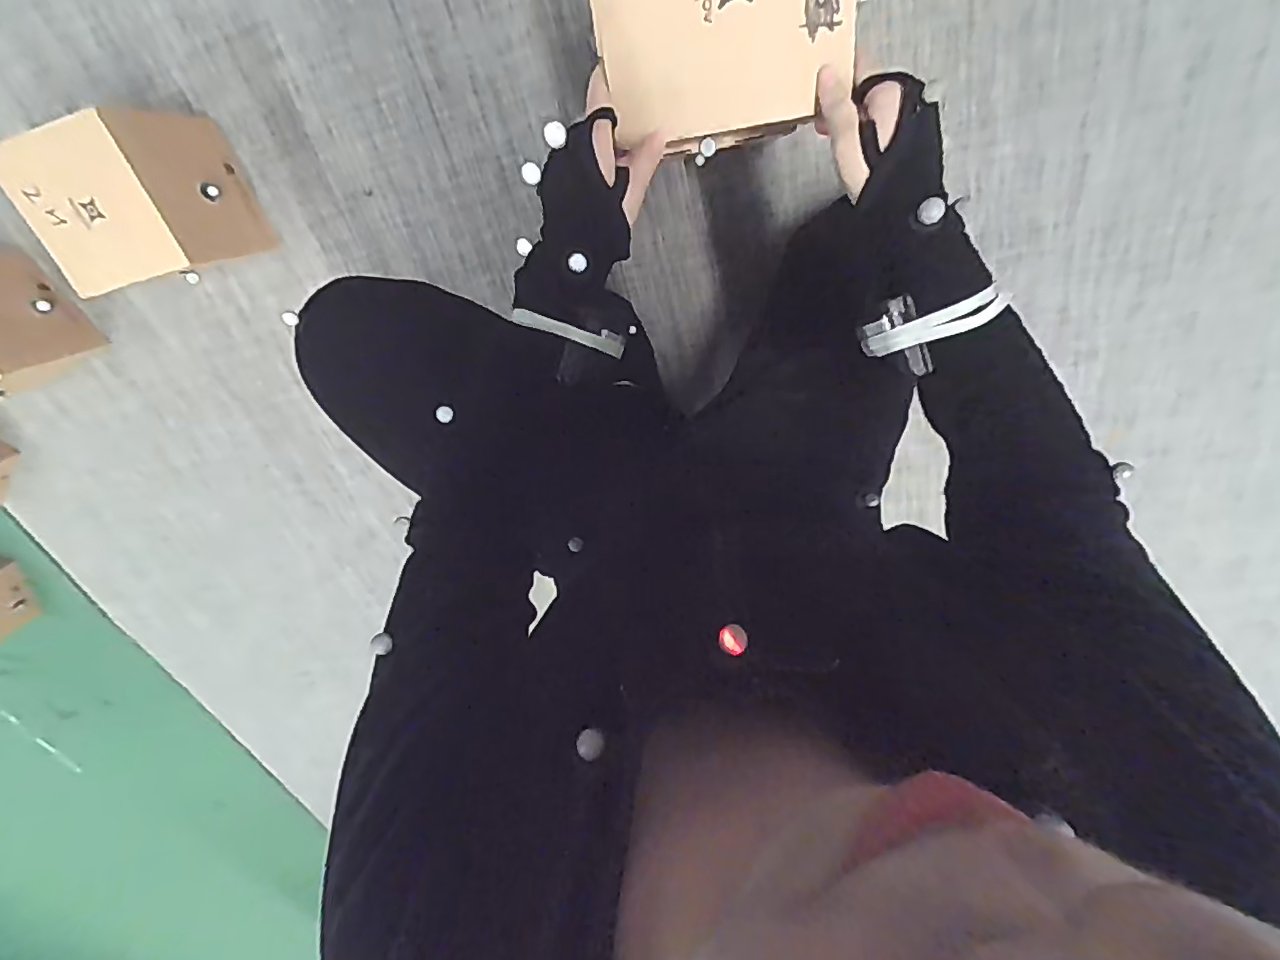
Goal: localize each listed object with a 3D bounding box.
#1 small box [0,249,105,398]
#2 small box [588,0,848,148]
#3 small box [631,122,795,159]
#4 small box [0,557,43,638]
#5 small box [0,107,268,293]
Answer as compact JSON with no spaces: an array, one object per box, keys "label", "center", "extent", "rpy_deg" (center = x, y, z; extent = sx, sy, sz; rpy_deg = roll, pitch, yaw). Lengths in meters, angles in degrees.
[{"label":"small box","center":[-0.988,-0.225,0.815],"extent":[0.179,0.176,0.168],"rpy_deg":[-22,116,17]},{"label":"small box","center":[0.058,-0.371,0.428],"extent":[0.179,0.176,0.168],"rpy_deg":[-4,120,9]},{"label":"small box","center":[0.066,-0.453,0.571],"extent":[0.168,0.176,0.179],"rpy_deg":[-6,120,9]},{"label":"small box","center":[-1.469,0.264,1.156],"extent":[0.179,0.176,0.168],"rpy_deg":[11,121,0]},{"label":"small box","center":[-0.631,-0.358,0.698],"extent":[0.179,0.176,0.168],"rpy_deg":[-10,118,11]}]
